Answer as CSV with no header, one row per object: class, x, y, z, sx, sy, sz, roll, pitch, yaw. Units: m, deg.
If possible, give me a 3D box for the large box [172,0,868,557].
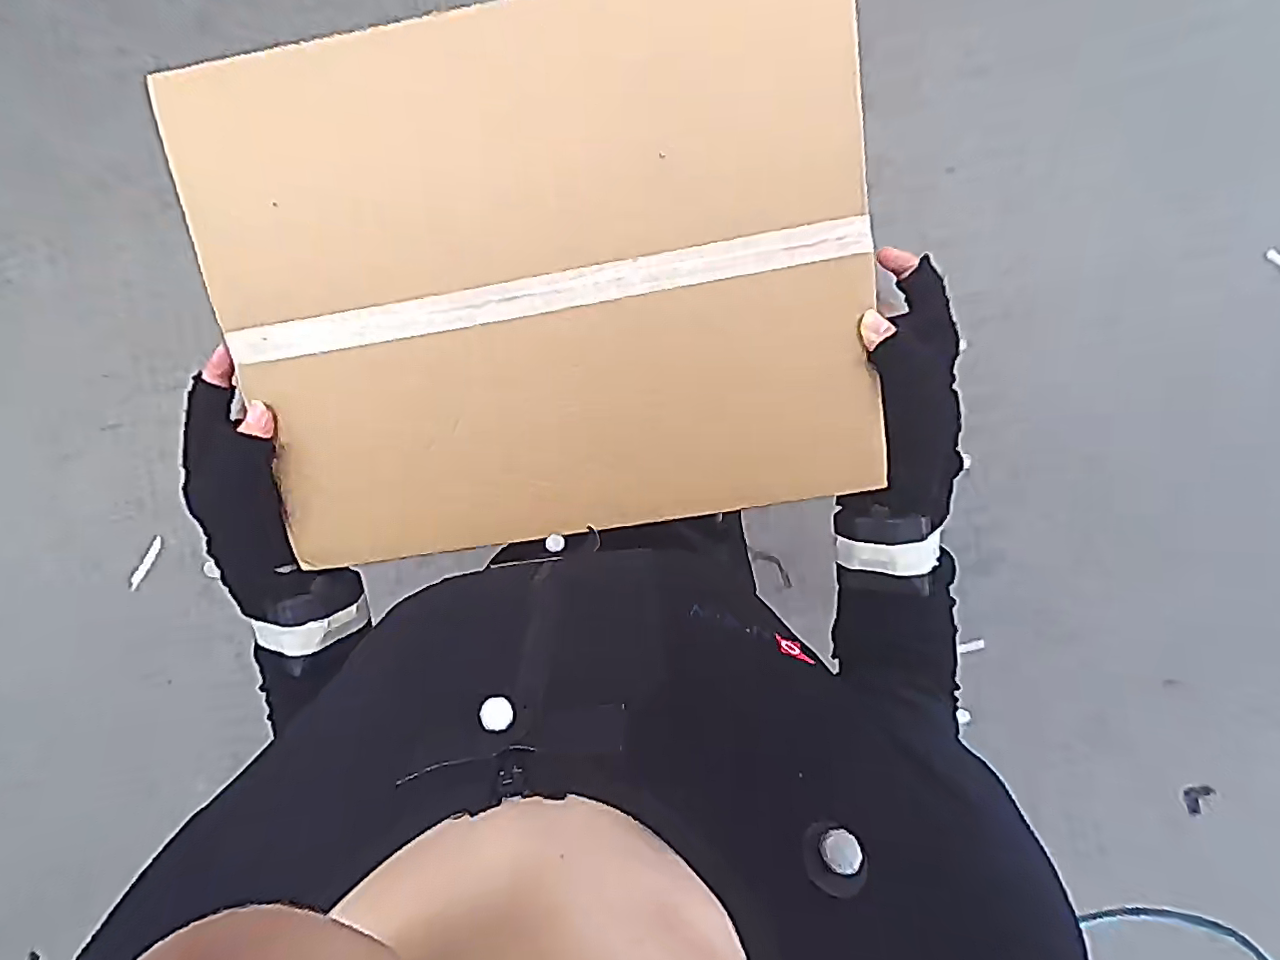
large box,-0.059,-0.157,0.491,0.408,0.320,0.320,-9,102,4
